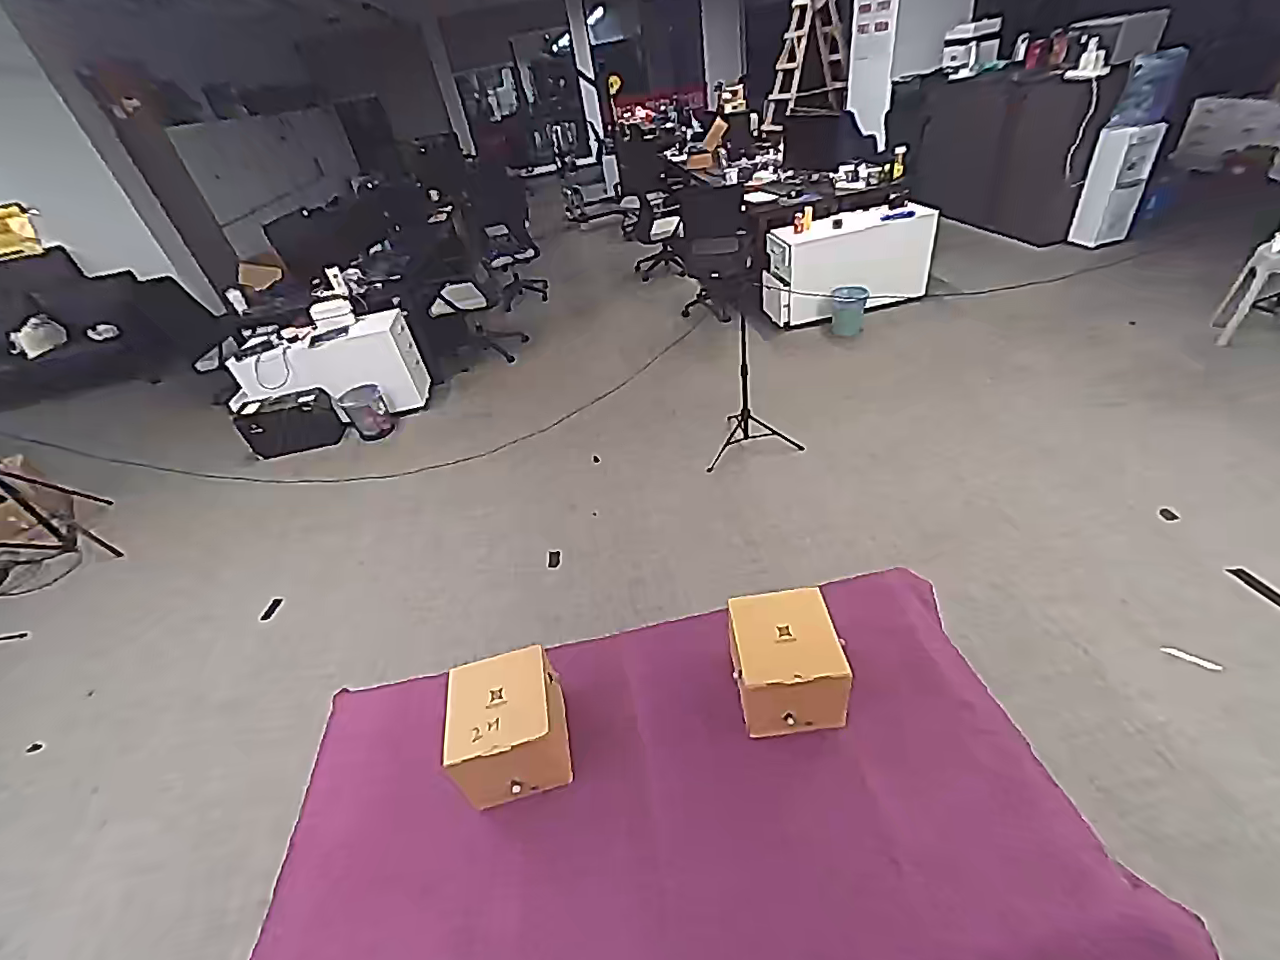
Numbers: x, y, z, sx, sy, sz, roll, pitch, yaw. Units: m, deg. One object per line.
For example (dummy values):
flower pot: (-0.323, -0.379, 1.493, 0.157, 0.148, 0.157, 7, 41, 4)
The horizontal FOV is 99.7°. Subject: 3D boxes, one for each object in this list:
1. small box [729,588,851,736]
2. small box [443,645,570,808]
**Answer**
small box: (0.253, 0.319, 0.950, 0.168, 0.176, 0.179, -9, 38, 3)
small box: (-0.224, 0.424, 0.934, 0.168, 0.176, 0.179, -14, 38, -4)
